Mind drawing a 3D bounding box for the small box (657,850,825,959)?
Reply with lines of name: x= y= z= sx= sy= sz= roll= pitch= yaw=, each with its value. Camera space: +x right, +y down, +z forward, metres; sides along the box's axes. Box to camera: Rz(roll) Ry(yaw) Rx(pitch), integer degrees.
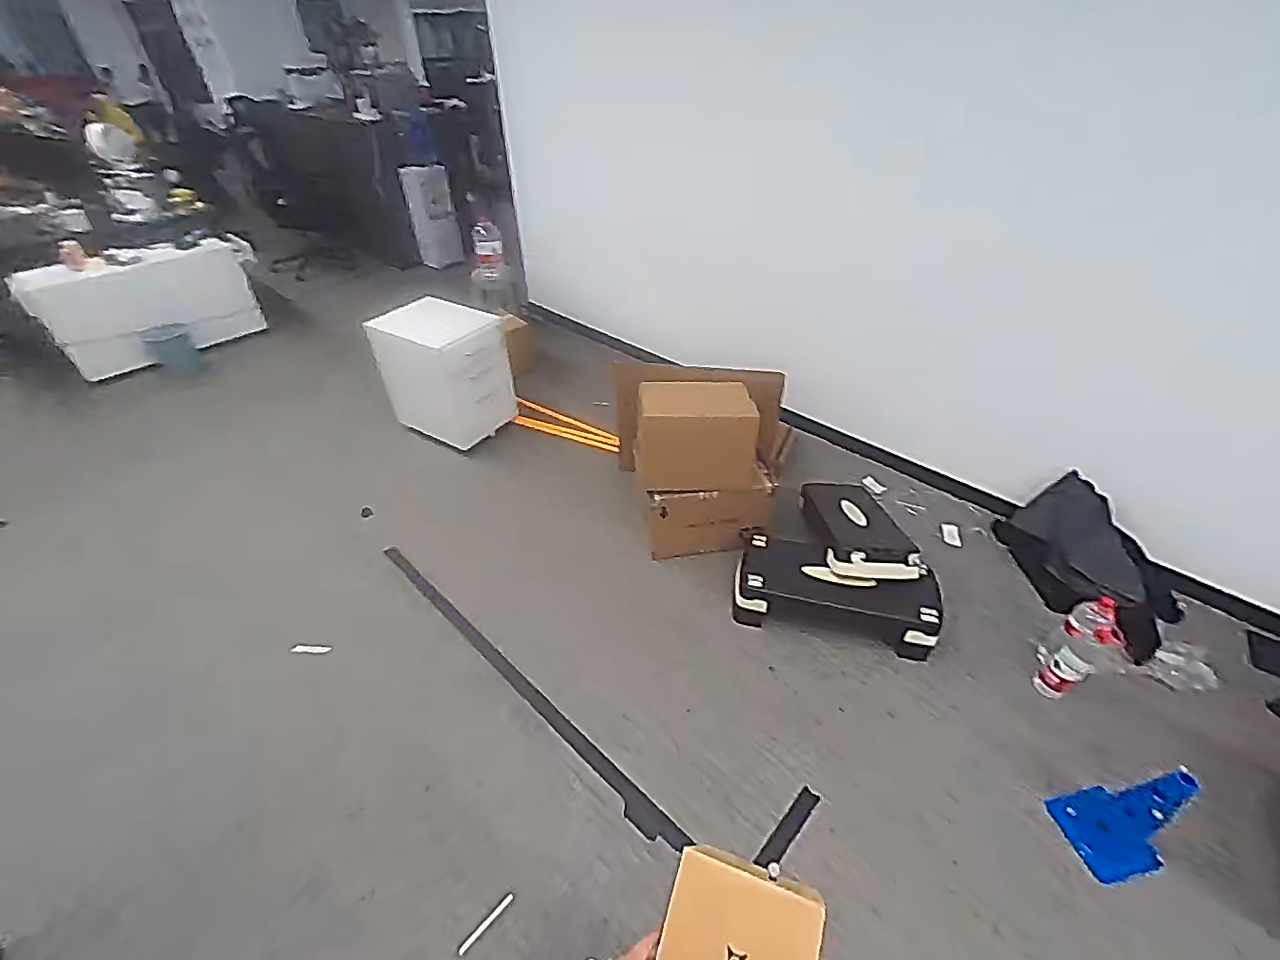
small box: x=0.114 y=0.569 z=0.643 sx=0.168 sy=0.176 sz=0.179 roll=11 pitch=63 yaw=20
